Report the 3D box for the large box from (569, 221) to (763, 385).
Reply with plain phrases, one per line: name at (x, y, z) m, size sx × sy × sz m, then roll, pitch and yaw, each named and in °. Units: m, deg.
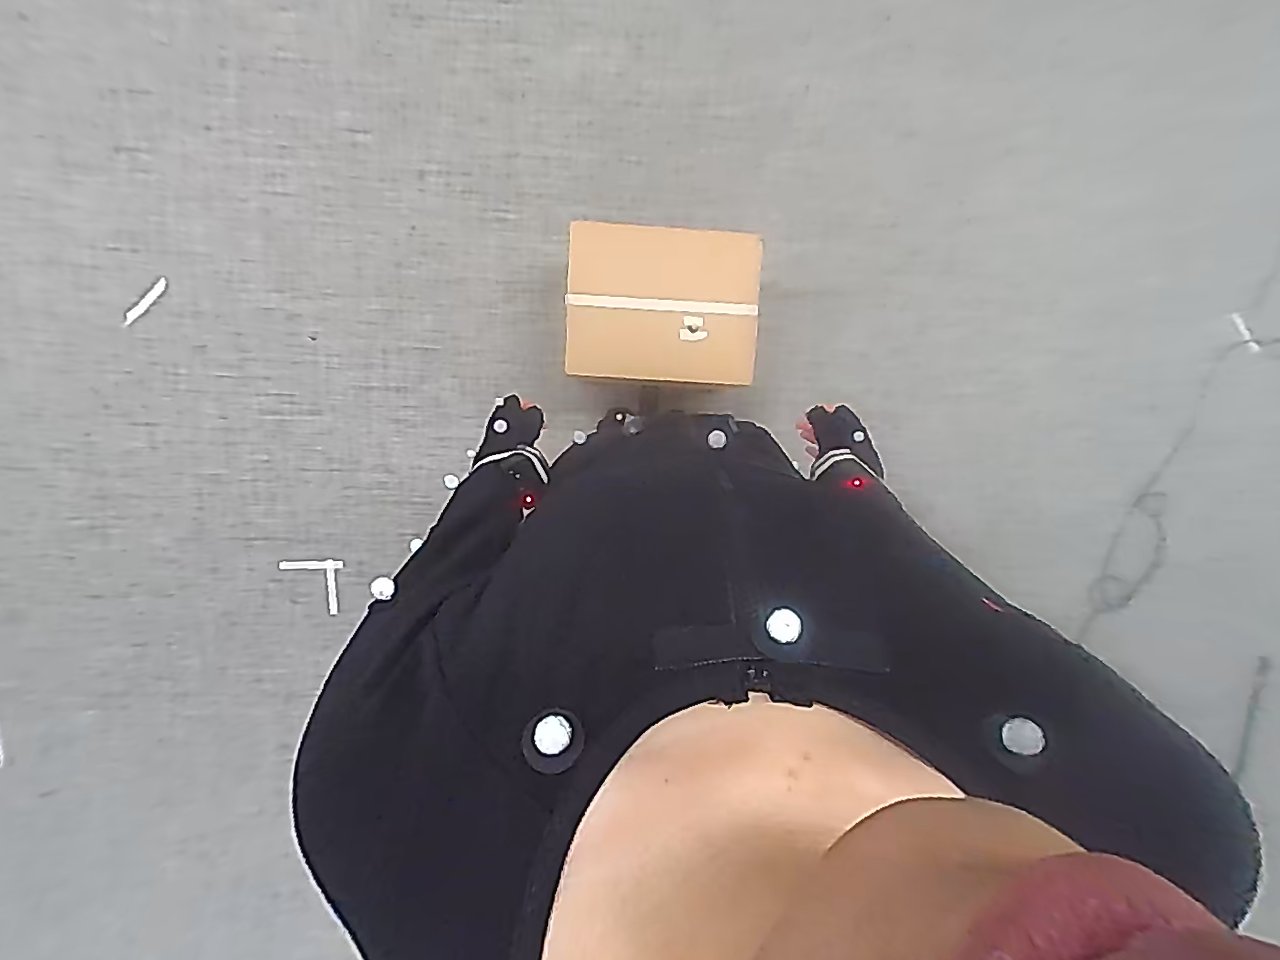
large box at (0.045, -0.392, 1.282) m, size 0.408 × 0.320 × 0.320 m, roll 2°, pitch 98°, yaw -3°
